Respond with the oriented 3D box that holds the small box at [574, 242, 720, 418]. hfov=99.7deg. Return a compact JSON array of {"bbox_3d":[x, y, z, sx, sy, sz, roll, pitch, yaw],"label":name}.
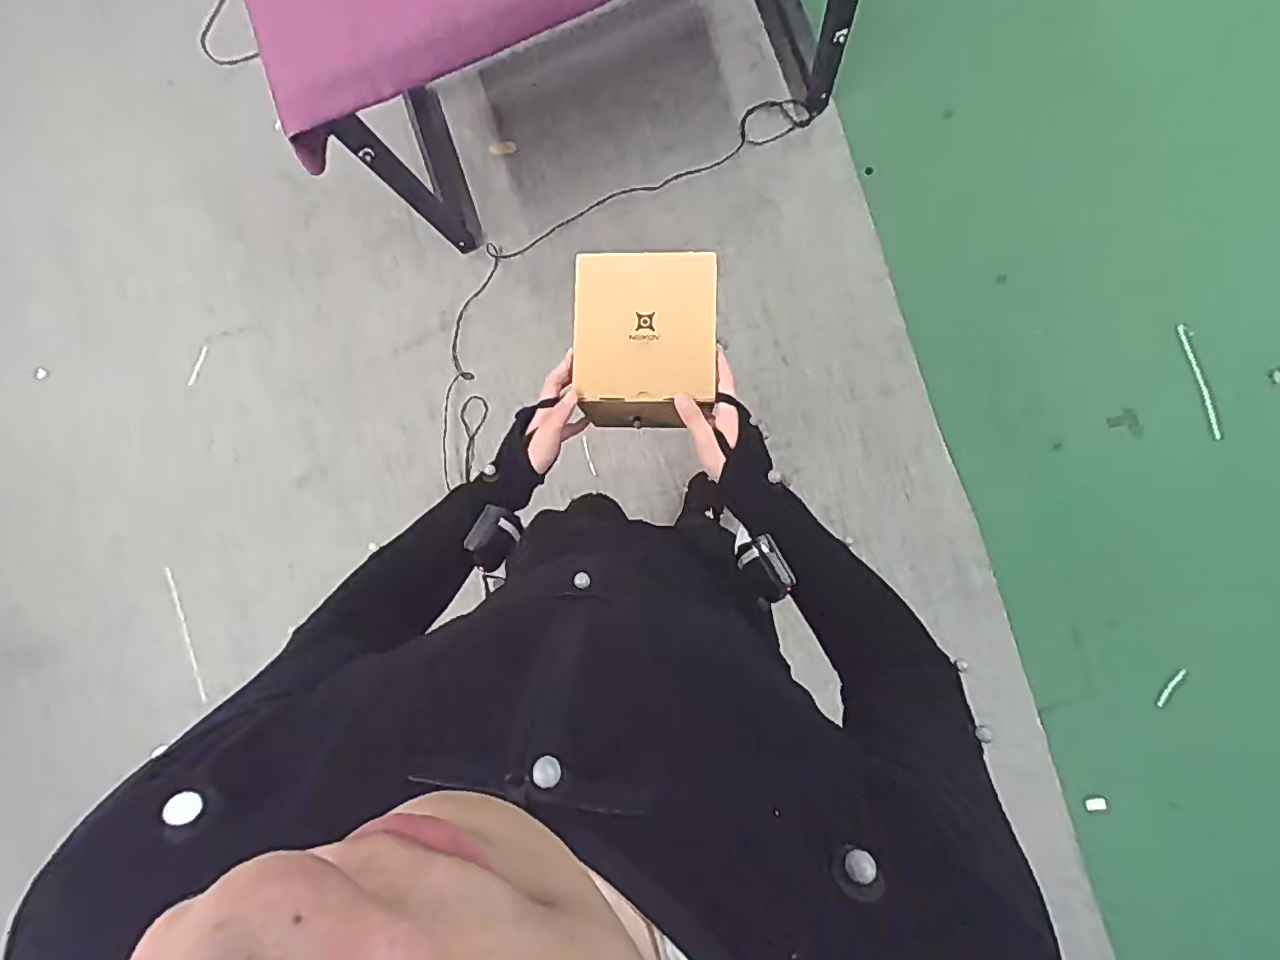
[{"bbox_3d":[0.010,-0.181,0.692,0.168,0.176,0.179,1,88,2],"label":"small box"}]
